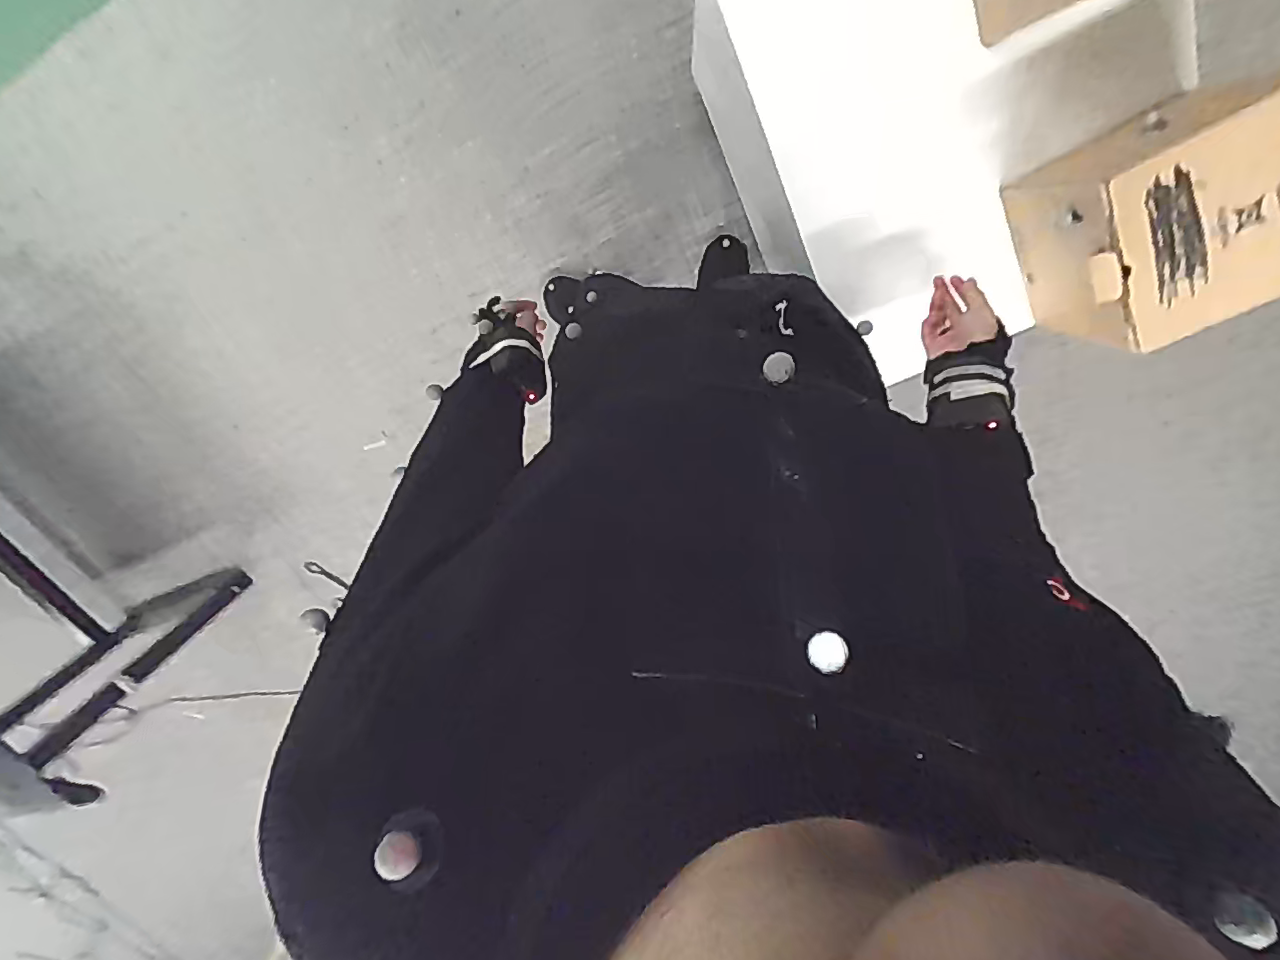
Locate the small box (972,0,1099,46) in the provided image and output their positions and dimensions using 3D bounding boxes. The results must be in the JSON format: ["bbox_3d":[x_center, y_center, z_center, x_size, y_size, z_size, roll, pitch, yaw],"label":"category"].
[{"bbox_3d":[0.377,-0.486,0.415,0.179,0.176,0.168,-23,114,17],"label":"small box"}]
